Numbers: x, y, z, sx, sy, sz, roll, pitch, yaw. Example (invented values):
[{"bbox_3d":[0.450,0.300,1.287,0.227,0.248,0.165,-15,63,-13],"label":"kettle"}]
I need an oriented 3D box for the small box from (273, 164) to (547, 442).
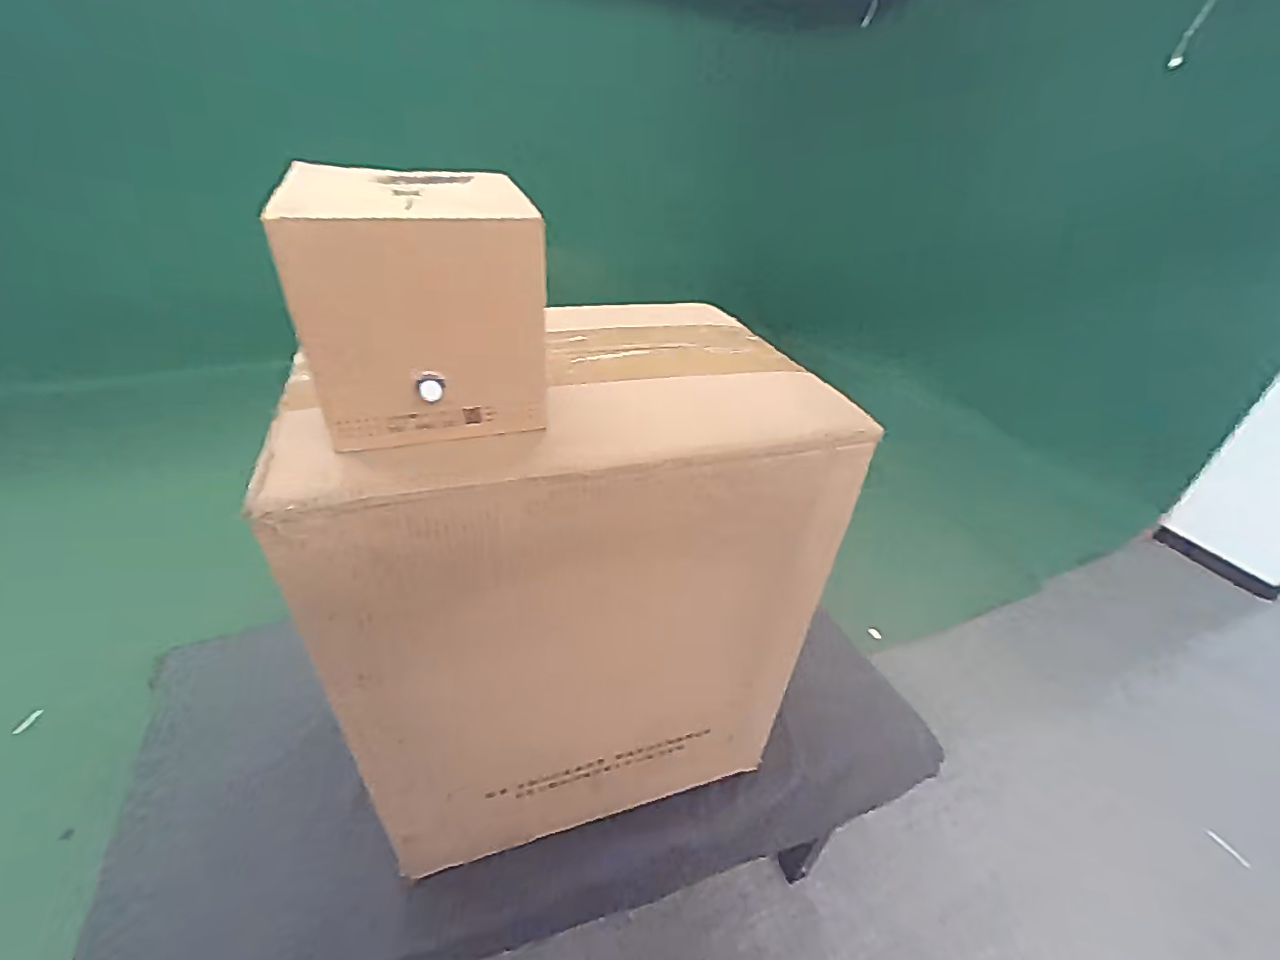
[{"bbox_3d":[-0.175,-0.151,0.453,0.168,0.176,0.179,-9,40,-18],"label":"small box"}]
